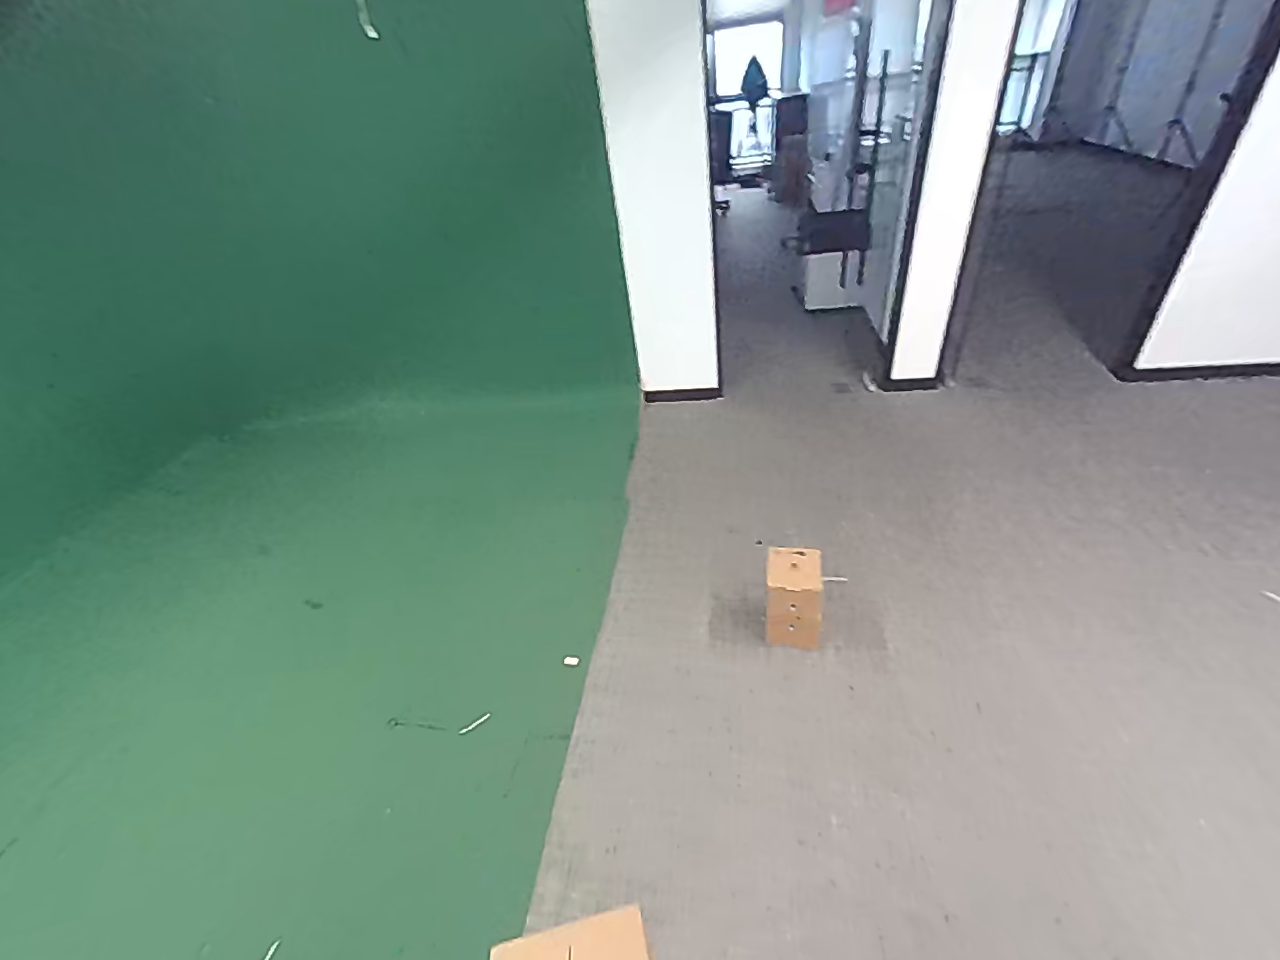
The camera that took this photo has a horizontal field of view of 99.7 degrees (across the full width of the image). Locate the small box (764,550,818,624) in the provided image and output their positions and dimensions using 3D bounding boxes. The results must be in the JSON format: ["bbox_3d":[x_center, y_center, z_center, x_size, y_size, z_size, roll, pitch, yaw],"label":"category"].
[{"bbox_3d":[0.499,0.355,1.786,0.168,0.176,0.179,2,40,14],"label":"small box"}]

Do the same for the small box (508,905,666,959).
[{"bbox_3d":[-0.040,0.604,0.571,0.168,0.176,0.179,-11,31,-6],"label":"small box"}]

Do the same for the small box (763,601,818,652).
[{"bbox_3d":[0.525,0.481,1.887,0.179,0.176,0.168,3,39,15],"label":"small box"}]
